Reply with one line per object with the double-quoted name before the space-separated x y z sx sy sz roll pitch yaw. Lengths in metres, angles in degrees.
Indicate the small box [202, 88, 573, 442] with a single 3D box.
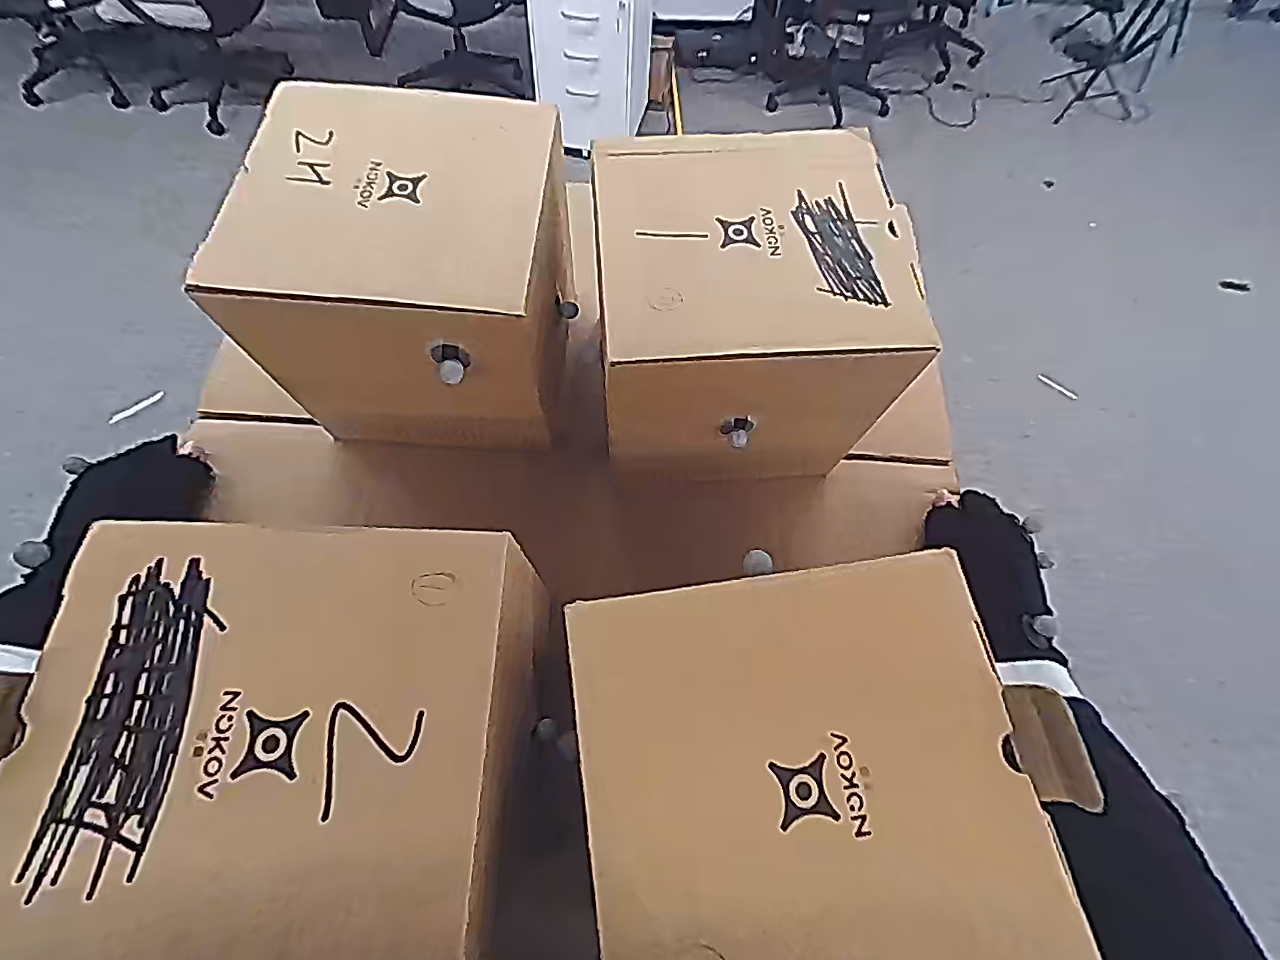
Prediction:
"small box" -0.147 -0.140 0.395 0.179 0.176 0.168 5 66 0
